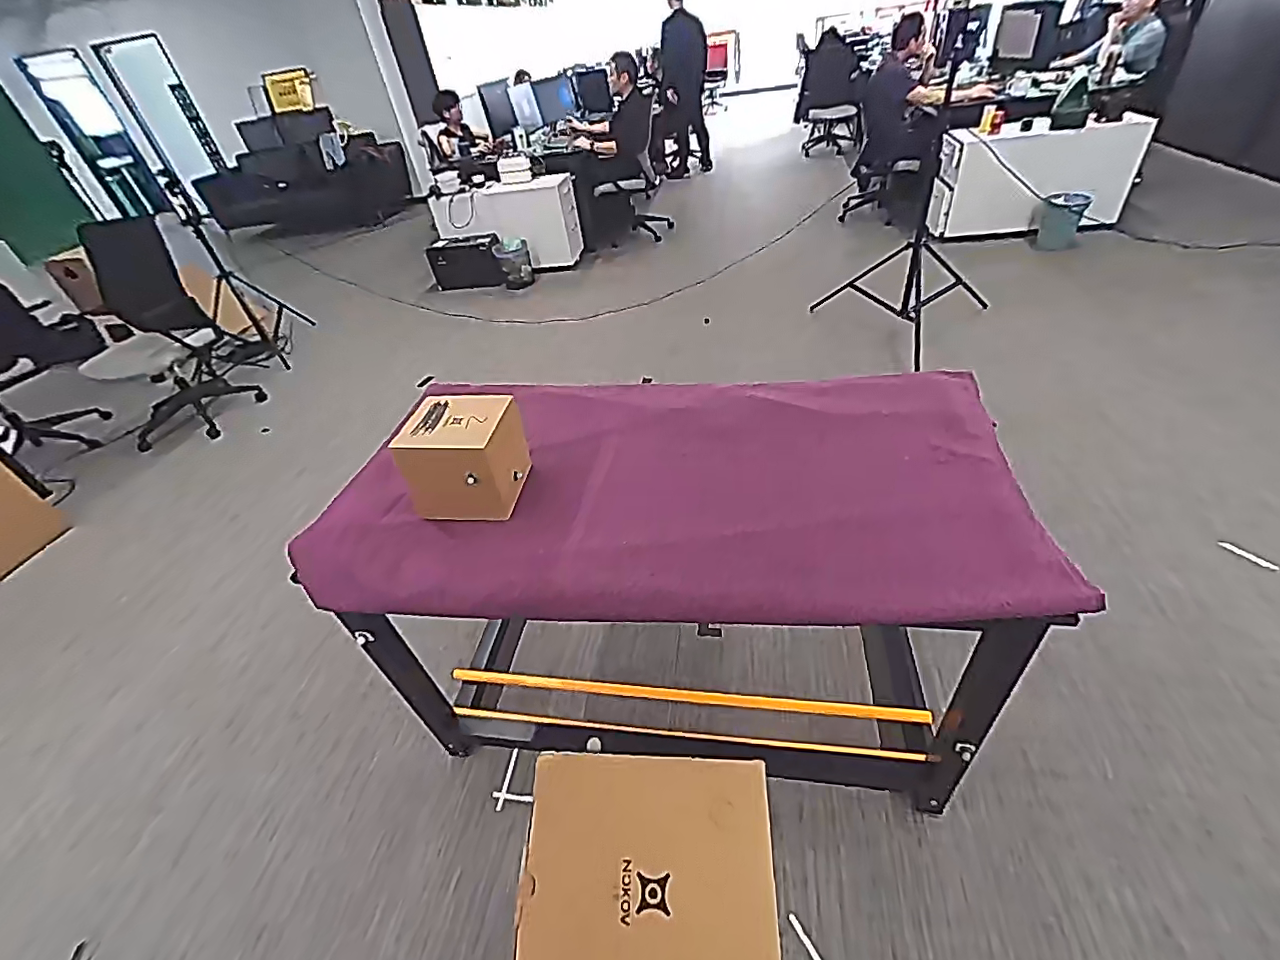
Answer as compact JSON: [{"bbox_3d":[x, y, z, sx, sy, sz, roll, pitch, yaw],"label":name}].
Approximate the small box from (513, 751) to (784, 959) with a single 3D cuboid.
[{"bbox_3d":[0.010,0.318,0.431,0.179,0.176,0.168,-1,56,4],"label":"small box"}]
